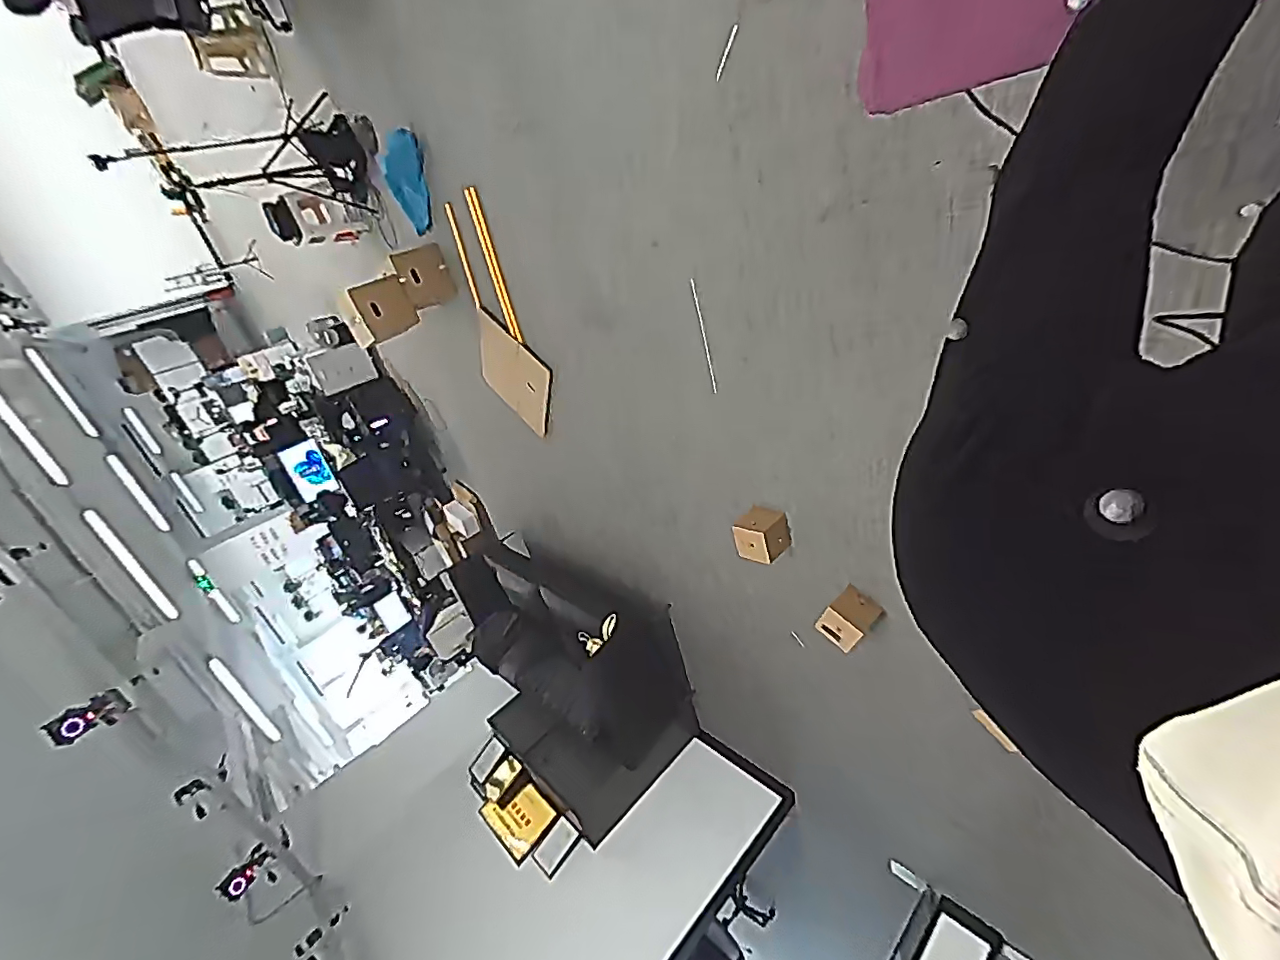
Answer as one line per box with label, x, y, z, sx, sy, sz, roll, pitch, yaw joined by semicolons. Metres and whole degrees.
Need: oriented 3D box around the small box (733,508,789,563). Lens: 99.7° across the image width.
small box;0.543;0.241;2.396;0.179;0.176;0.168;11;126;49
